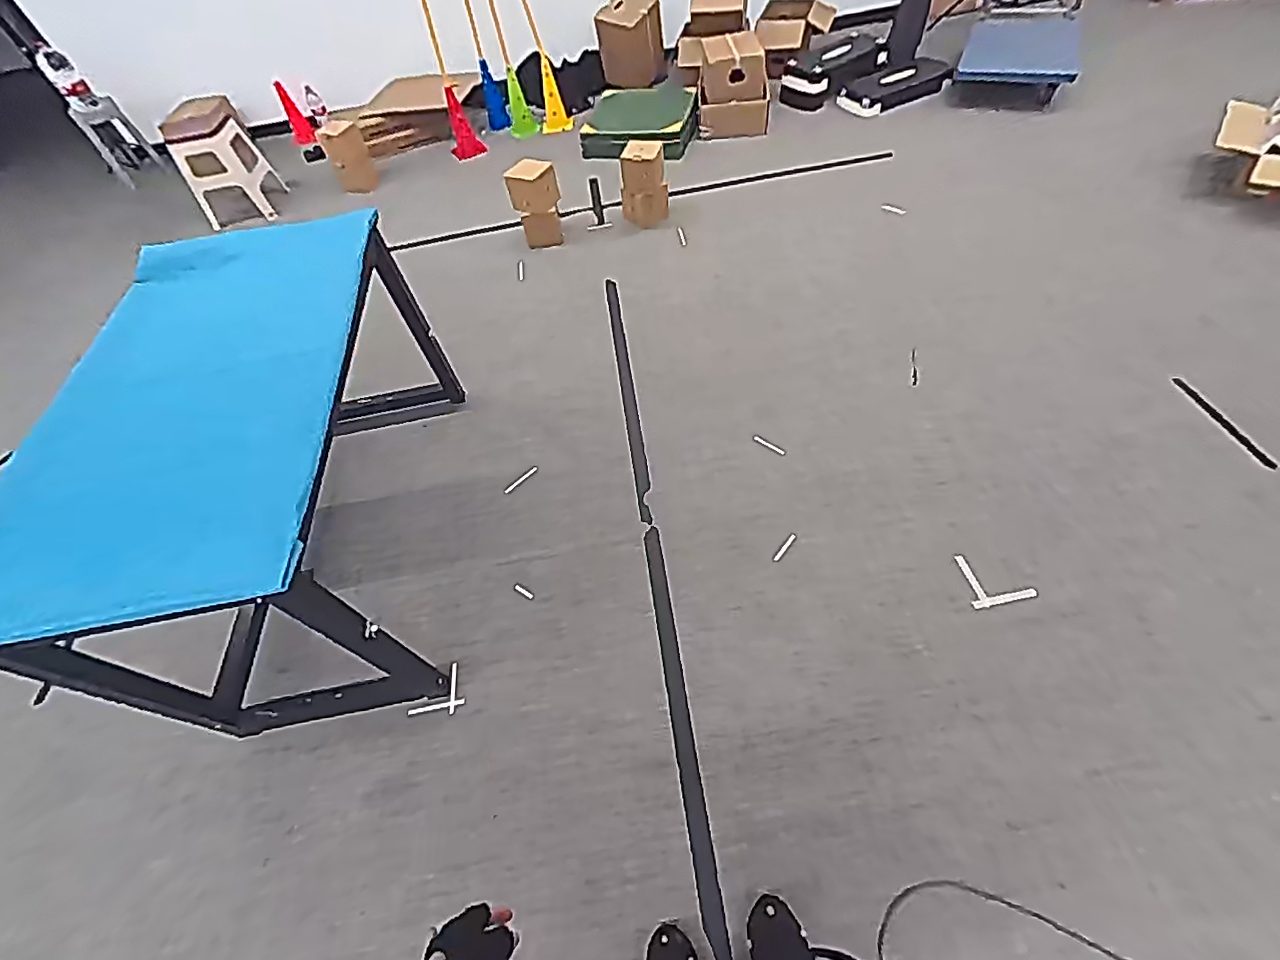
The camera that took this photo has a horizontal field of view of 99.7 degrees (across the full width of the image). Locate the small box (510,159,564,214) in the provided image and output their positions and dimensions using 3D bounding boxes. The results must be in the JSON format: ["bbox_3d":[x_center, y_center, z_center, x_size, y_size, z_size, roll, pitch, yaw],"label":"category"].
[{"bbox_3d":[-0.489,-1.402,2.574,0.179,0.176,0.168,19,59,19],"label":"small box"}]

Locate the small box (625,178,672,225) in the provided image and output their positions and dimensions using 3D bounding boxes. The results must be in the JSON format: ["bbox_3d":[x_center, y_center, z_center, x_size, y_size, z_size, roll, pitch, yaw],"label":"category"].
[{"bbox_3d":[0.048,-1.410,2.711,0.179,0.176,0.168,-37,58,-19],"label":"small box"}]

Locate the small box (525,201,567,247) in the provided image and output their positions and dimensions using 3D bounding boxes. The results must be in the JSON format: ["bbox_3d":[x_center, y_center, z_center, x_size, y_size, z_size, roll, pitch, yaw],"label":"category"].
[{"bbox_3d":[-0.464,-1.297,2.702,0.179,0.176,0.168,-9,53,3],"label":"small box"}]

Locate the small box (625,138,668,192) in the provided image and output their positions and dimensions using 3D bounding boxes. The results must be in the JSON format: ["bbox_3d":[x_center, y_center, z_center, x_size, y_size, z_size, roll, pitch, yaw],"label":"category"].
[{"bbox_3d":[0.037,-1.496,2.569,0.168,0.176,0.179,10,56,13],"label":"small box"}]
